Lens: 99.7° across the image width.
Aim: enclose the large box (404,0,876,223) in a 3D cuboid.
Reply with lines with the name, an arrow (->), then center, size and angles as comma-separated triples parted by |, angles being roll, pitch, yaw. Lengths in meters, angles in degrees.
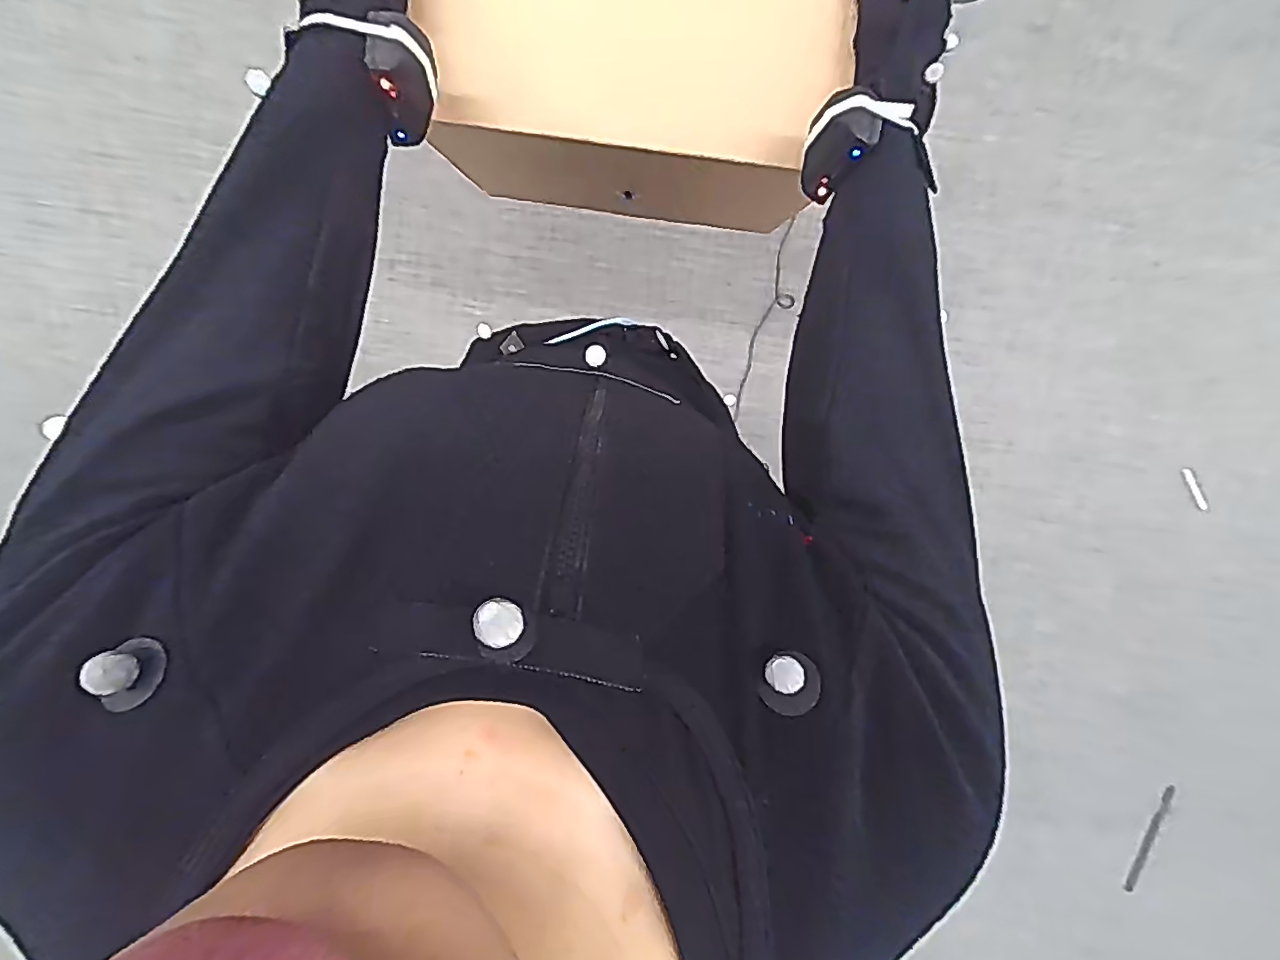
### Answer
large box -> 0.007, -0.487, 0.586 | 0.408, 0.320, 0.320 | 6, 105, -2
